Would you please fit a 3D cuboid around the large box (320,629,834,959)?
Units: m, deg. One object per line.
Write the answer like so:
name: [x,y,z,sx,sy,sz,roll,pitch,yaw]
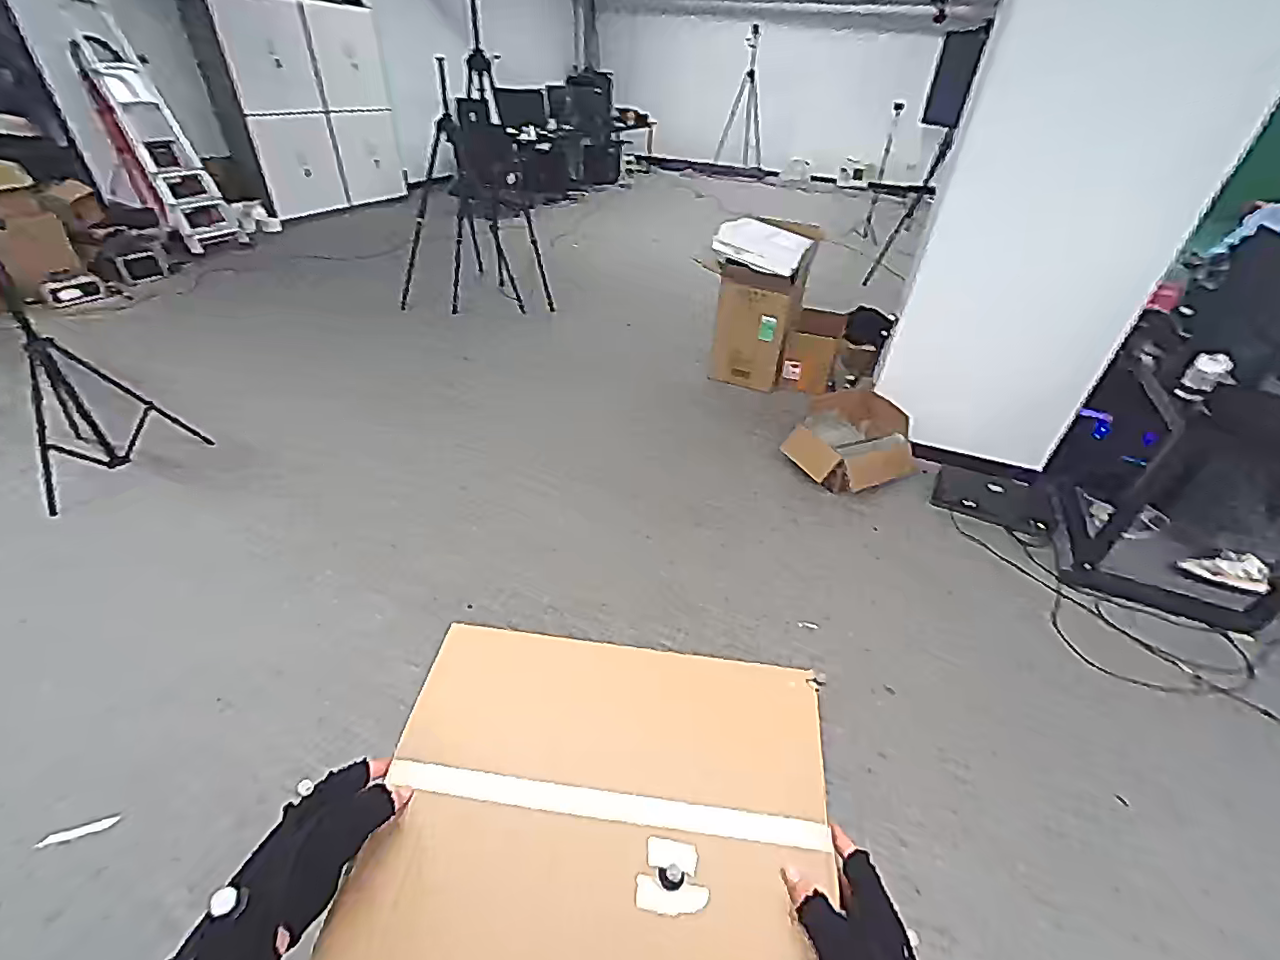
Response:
large box: [-0.040,0.400,0.601,0.408,0.320,0.320,7,45,4]
